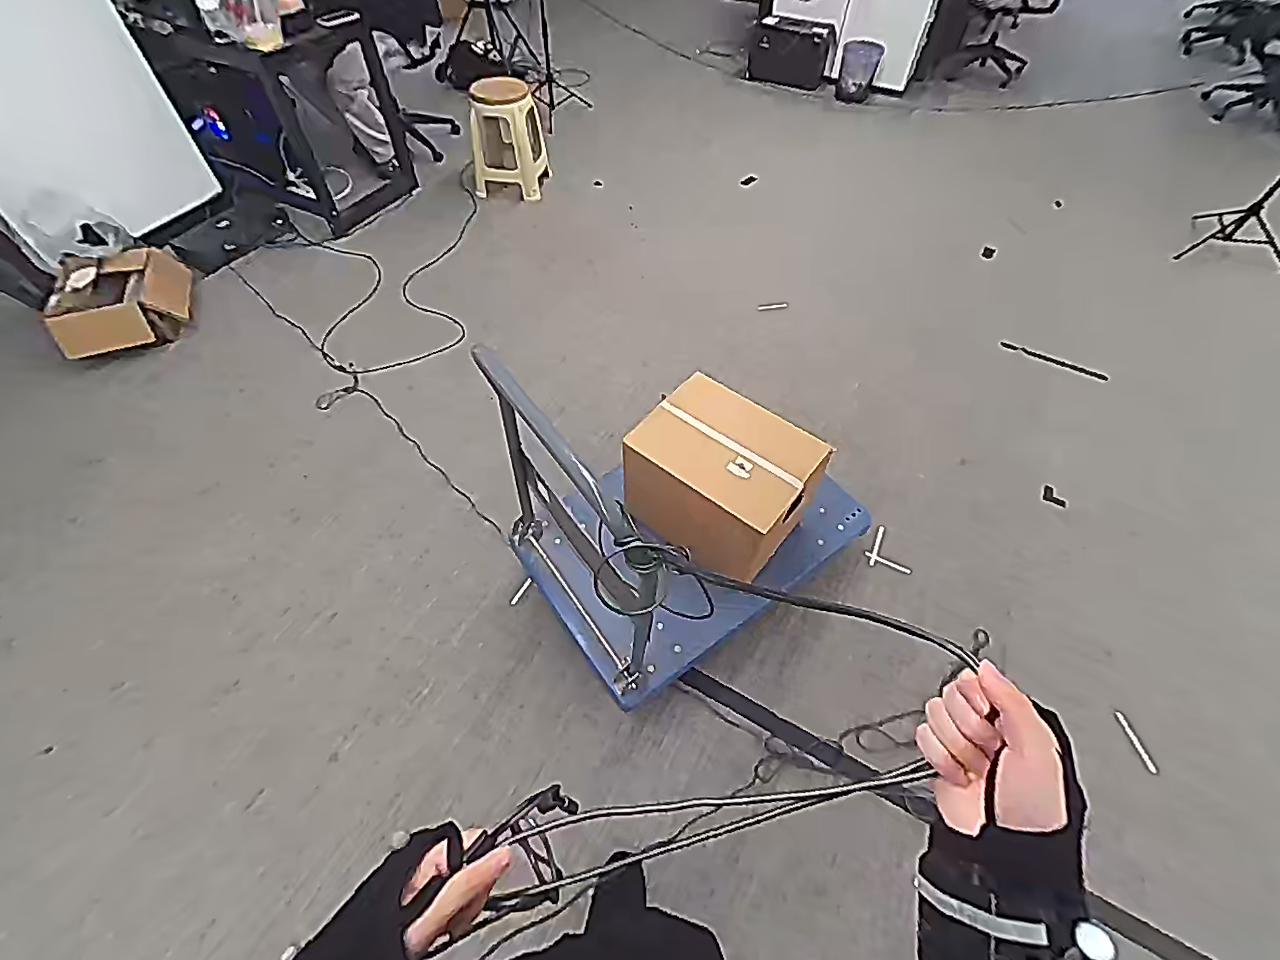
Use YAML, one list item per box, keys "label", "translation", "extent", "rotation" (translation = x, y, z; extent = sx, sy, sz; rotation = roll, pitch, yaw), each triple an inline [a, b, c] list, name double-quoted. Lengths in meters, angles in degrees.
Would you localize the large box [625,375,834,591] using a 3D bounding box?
- label: "large box"
  translation: [0.206, 0.007, 1.394]
  extent: [0.408, 0.320, 0.320]
  rotation: [35, 62, 20]
